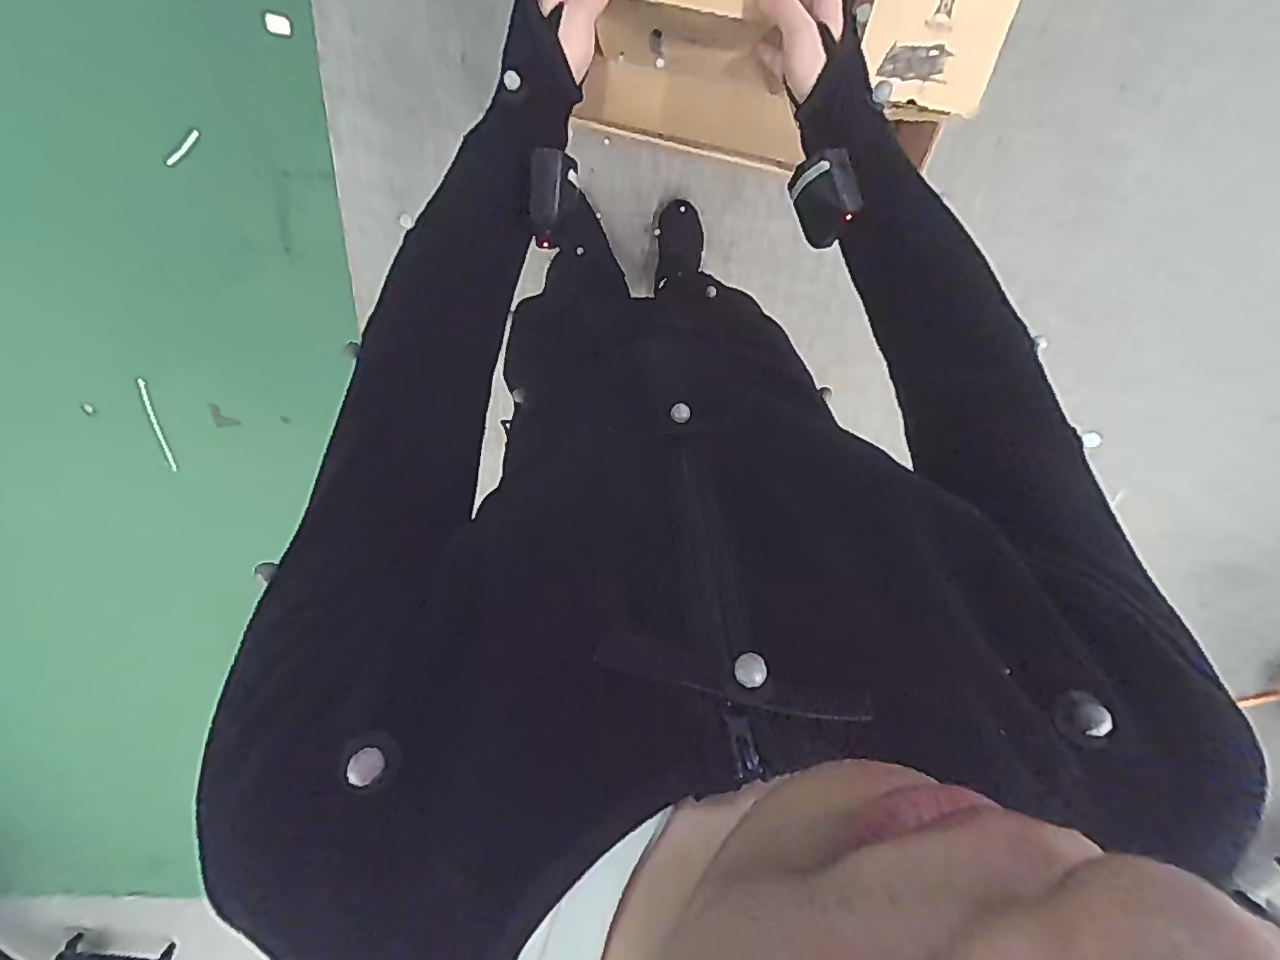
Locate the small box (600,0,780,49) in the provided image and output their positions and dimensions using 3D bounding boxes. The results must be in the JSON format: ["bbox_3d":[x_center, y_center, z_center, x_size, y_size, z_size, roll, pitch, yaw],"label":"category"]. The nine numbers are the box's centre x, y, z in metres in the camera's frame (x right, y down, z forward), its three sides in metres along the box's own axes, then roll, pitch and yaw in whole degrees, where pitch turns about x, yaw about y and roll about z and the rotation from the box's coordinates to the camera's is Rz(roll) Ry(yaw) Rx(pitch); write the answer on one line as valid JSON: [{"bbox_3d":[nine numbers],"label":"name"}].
[{"bbox_3d":[0.049,-0.523,0.485,0.168,0.176,0.179,7,121,-6],"label":"small box"}]

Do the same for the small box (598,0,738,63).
[{"bbox_3d":[0.044,-0.612,0.622,0.168,0.176,0.179,7,122,-6],"label":"small box"}]

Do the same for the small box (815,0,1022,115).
[{"bbox_3d":[0.334,-0.565,0.665,0.168,0.176,0.179,6,122,-6],"label":"small box"}]
